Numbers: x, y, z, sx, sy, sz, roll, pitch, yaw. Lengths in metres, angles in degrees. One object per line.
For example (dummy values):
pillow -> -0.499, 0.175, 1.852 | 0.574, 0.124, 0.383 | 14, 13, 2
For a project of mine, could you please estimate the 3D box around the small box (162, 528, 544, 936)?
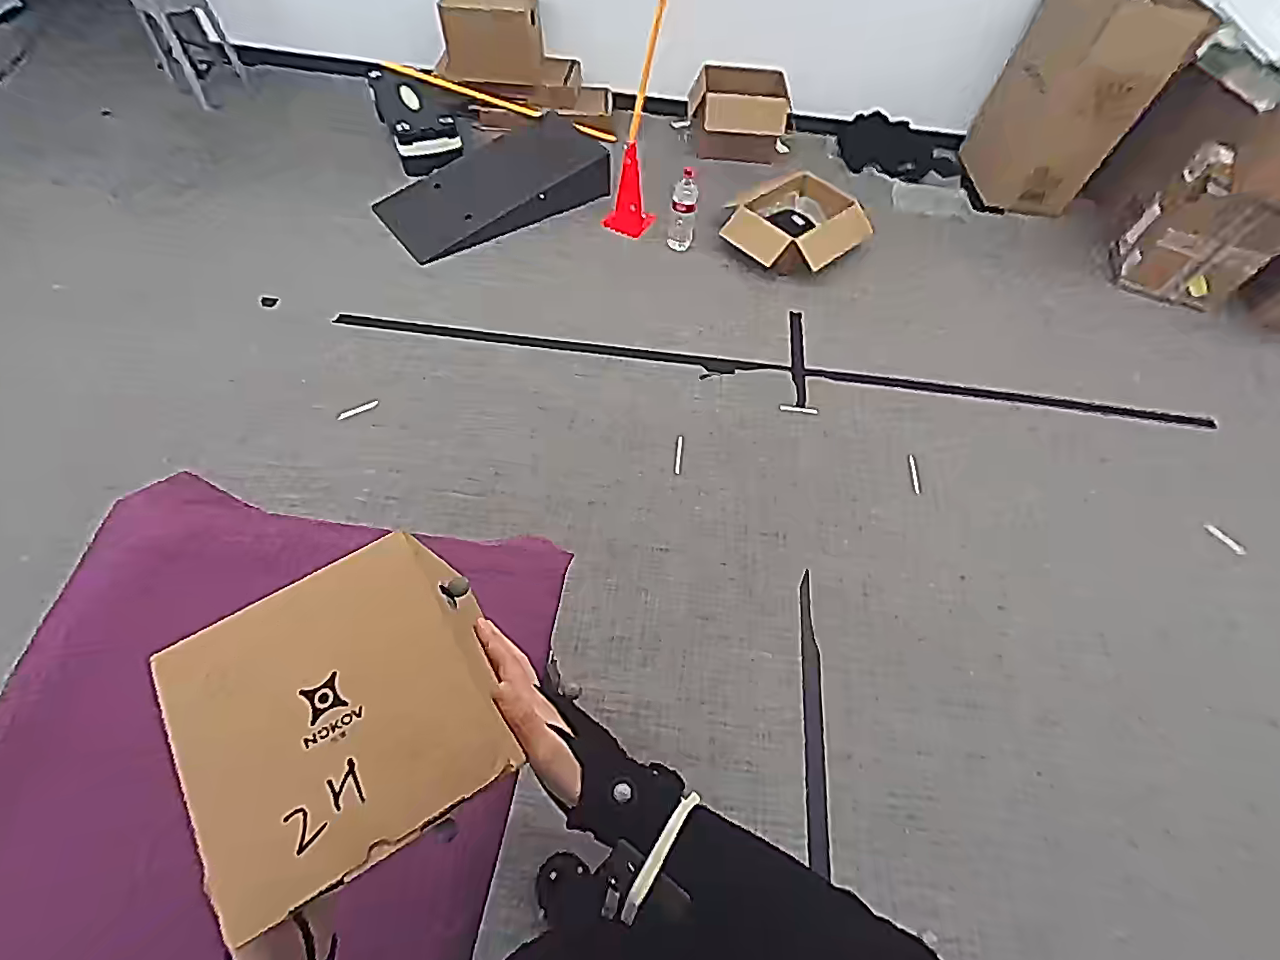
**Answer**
small box -> -0.188, 0.168, 0.401 | 0.168, 0.176, 0.179 | -29, 71, -13
